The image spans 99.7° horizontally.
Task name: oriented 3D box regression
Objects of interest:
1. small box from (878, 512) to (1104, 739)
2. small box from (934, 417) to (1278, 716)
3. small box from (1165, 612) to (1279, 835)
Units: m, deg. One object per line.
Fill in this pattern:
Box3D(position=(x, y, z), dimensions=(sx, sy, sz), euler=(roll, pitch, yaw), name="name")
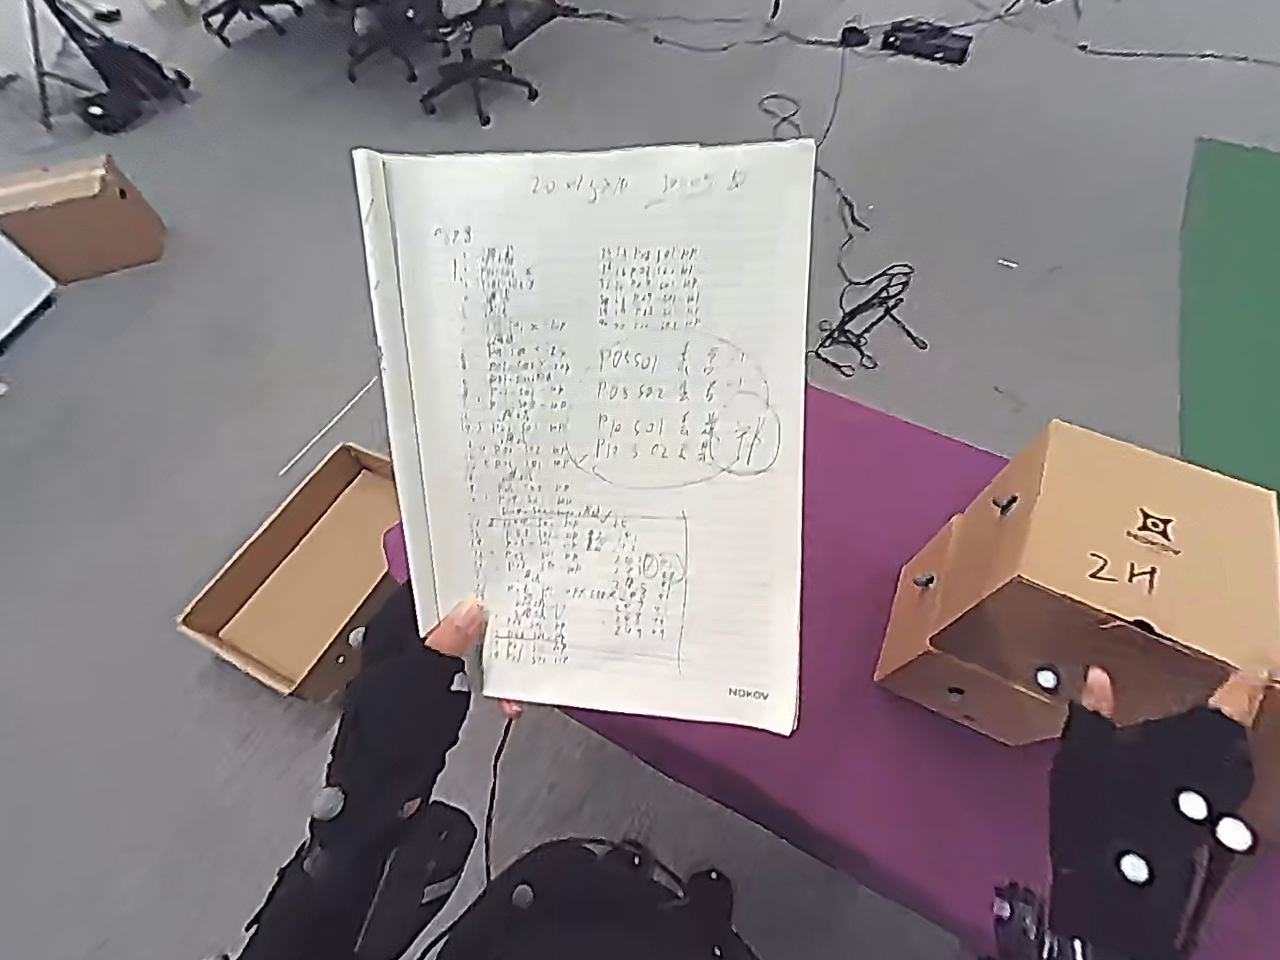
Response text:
Box3D(position=(0.397, 0.174, 0.626), dimensions=(0.168, 0.176, 0.179), euler=(22, 61, 16), name="small box")
Box3D(position=(0.397, 0.082, 0.488), dimensions=(0.168, 0.176, 0.179), euler=(25, 62, 17), name="small box")
Box3D(position=(0.696, 0.266, 0.553), dimensions=(0.168, 0.176, 0.179), euler=(25, 62, 17), name="small box")
